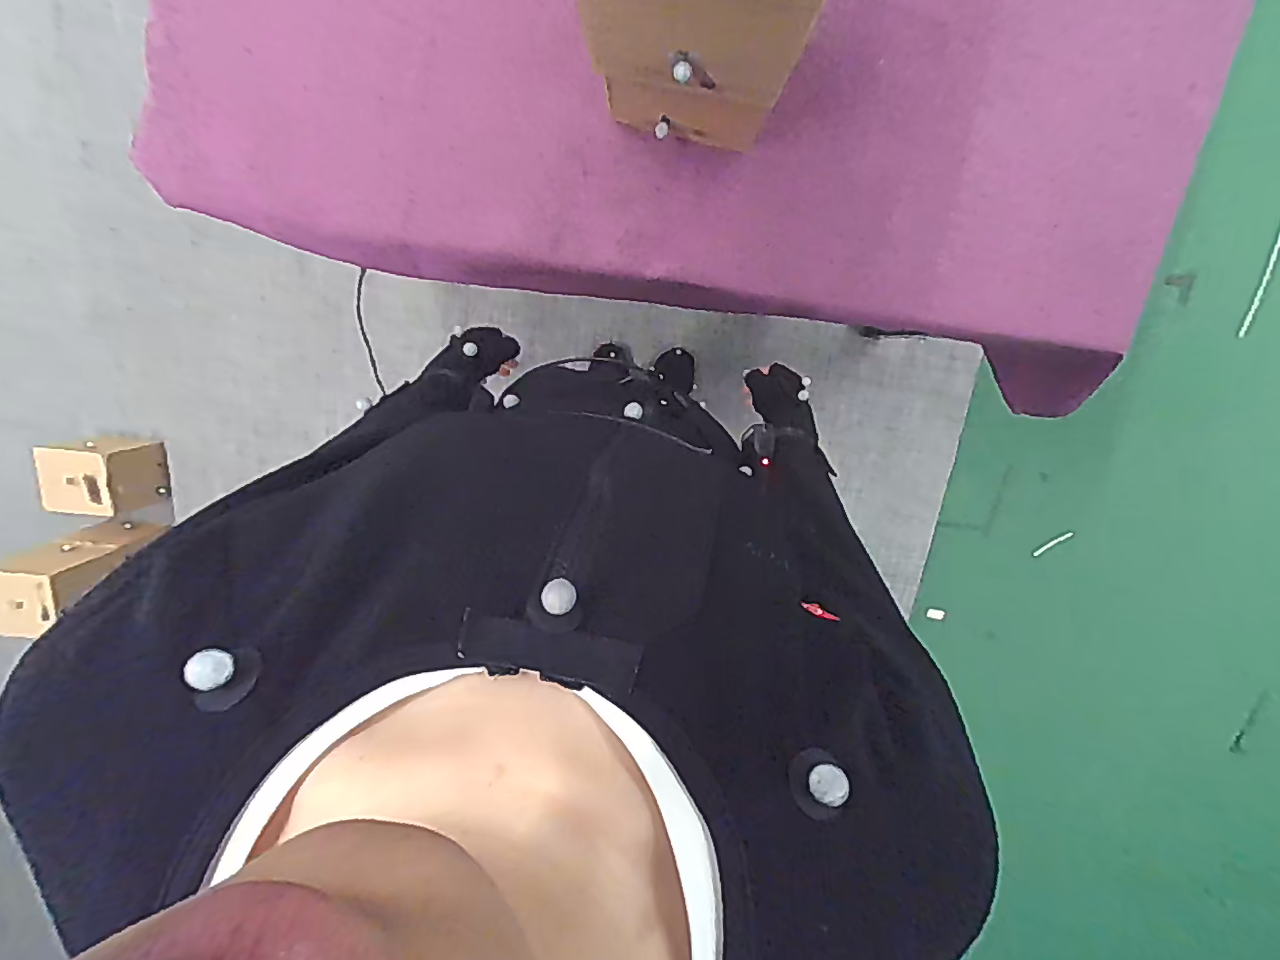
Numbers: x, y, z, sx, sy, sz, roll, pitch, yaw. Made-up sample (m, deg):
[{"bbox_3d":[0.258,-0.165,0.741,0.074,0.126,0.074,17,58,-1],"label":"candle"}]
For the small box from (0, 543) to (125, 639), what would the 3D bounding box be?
[{"bbox_3d":[-1.418,0.261,1.310,0.179,0.176,0.168,7,104,0],"label":"small box"}]

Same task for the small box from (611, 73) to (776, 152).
[{"bbox_3d":[0.063,-0.467,0.542,0.168,0.176,0.179,12,104,-2],"label":"small box"}]

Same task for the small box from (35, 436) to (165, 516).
[{"bbox_3d":[-1.388,-0.015,1.407,0.179,0.176,0.168,6,104,-1],"label":"small box"}]

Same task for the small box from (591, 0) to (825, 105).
[{"bbox_3d":[0.054,-0.414,0.386,0.168,0.176,0.179,11,104,-1],"label":"small box"}]
